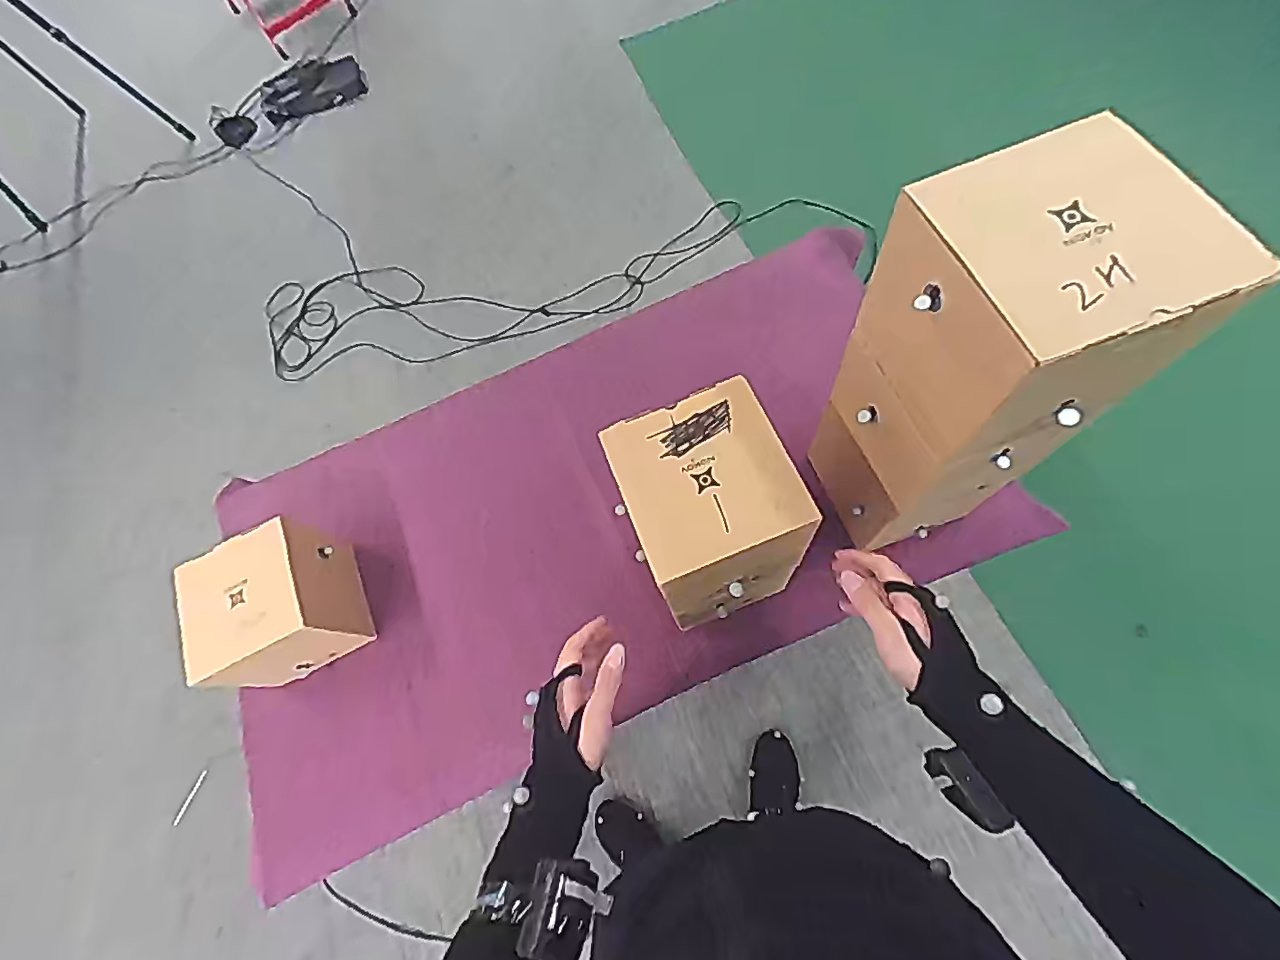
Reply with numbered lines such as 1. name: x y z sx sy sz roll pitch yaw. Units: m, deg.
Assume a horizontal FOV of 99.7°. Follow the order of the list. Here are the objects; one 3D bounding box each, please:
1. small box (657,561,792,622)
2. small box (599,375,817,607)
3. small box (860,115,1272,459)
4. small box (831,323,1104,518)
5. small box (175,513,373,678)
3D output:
1. small box: 0.093 0.086 0.750 0.168 0.176 0.179 -22 66 0
2. small box: 0.070 0.022 0.600 0.168 0.176 0.179 -22 66 0
3. small box: 0.308 -0.144 0.447 0.168 0.176 0.179 -20 67 2
4. small box: 0.332 -0.082 0.598 0.168 0.176 0.179 -21 66 1
5. small box: -0.534 0.179 0.804 0.168 0.176 0.179 -27 68 -2
